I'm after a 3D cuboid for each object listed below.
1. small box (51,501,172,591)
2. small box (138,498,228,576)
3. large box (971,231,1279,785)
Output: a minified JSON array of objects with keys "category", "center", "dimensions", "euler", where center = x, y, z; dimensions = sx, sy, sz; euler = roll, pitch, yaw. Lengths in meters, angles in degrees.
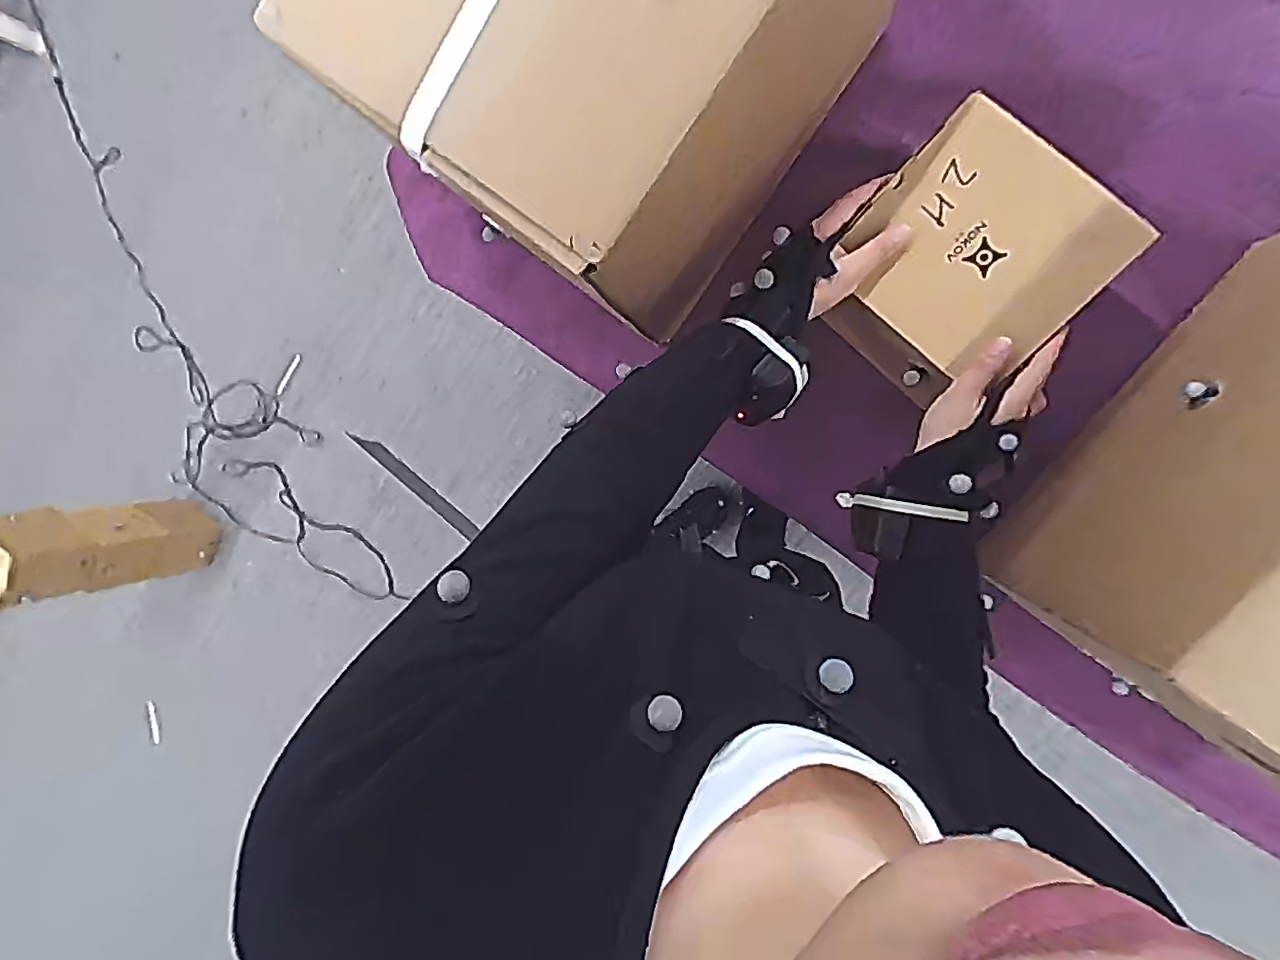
[{"category":"small box","center":[-1.488,0.178,1.533],"dimensions":[0.168,0.176,0.179],"euler":[34,102,9]},{"category":"small box","center":[-1.450,0.170,1.690],"dimensions":[0.179,0.176,0.168],"euler":[32,102,9]},{"category":"large box","center":[0.545,0.029,0.382],"dimensions":[0.320,0.320,0.408],"euler":[38,100,8]}]
